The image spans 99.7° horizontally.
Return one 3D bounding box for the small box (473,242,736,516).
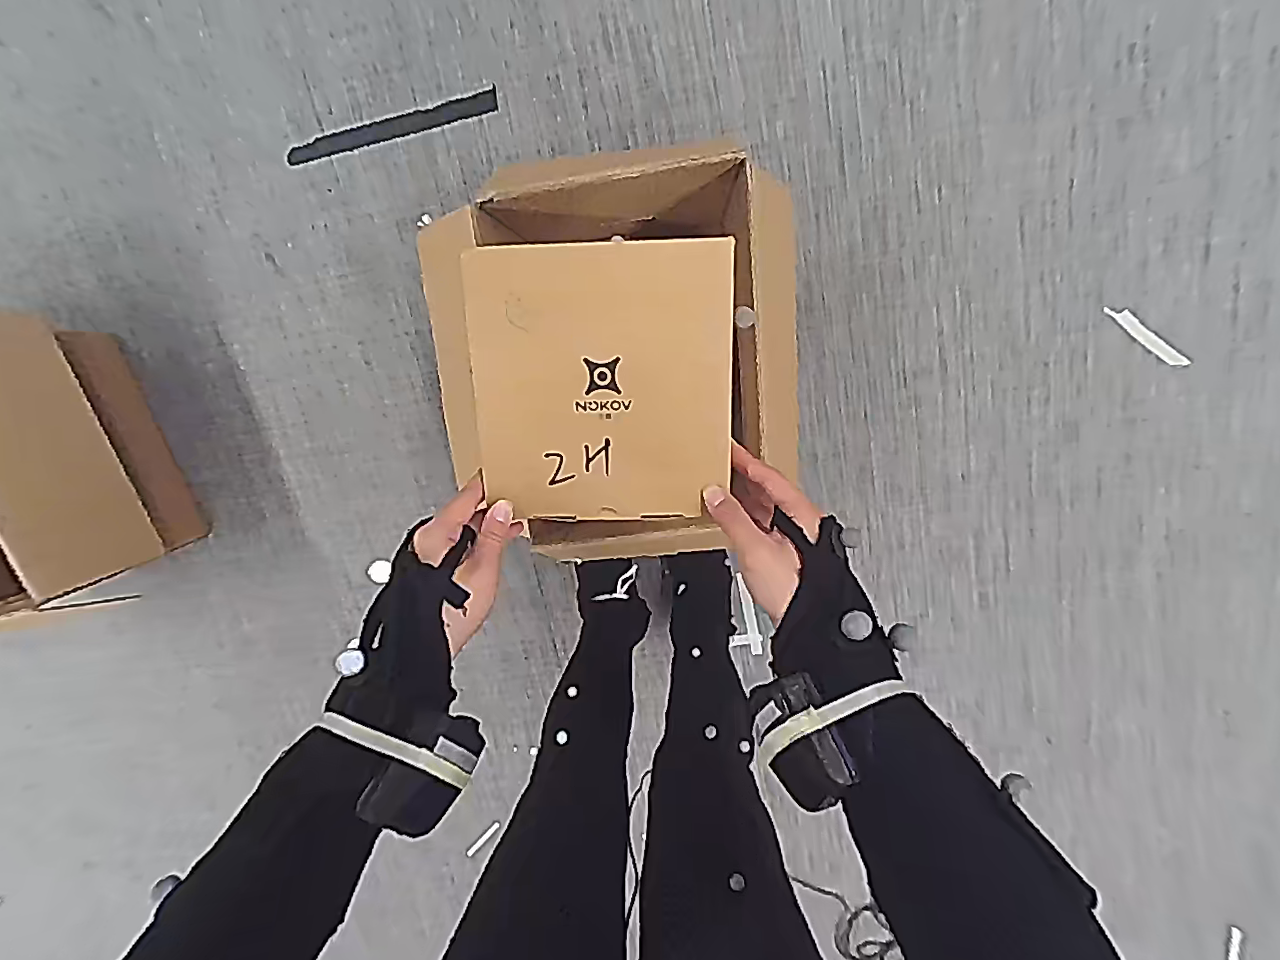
[{"bbox_3d":[-0.019,-0.079,0.429,0.168,0.176,0.179,-1,105,3],"label":"small box"}]
